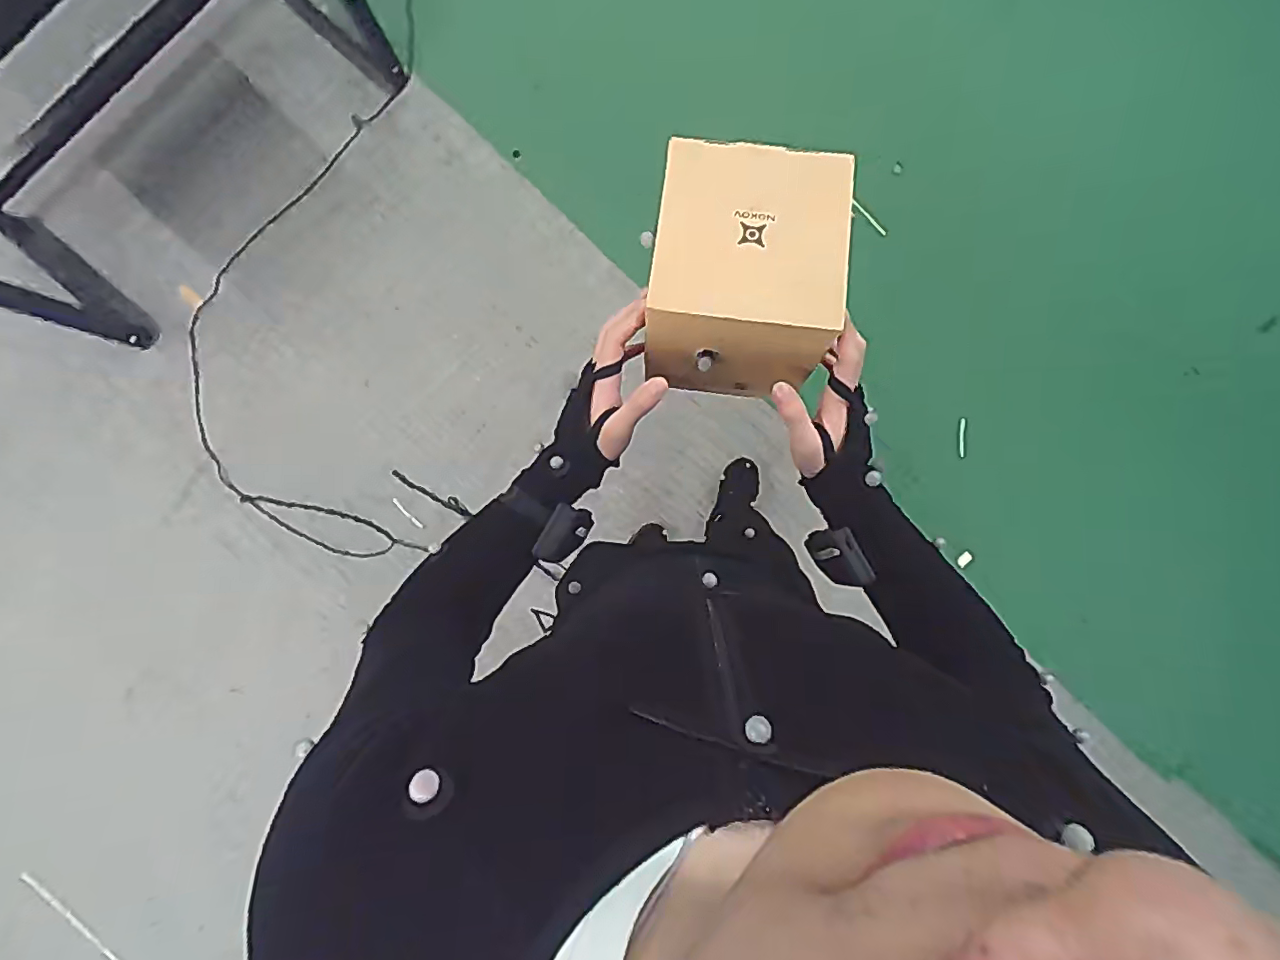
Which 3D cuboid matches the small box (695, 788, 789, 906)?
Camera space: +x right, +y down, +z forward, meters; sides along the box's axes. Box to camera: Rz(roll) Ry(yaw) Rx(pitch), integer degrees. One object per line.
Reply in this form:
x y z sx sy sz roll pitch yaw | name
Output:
0.266 0.974 1.462 0.168 0.176 0.179 -43 88 -2 | small box

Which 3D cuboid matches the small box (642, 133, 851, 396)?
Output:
0.095 -0.197 0.533 0.168 0.176 0.179 6 75 3 | small box
